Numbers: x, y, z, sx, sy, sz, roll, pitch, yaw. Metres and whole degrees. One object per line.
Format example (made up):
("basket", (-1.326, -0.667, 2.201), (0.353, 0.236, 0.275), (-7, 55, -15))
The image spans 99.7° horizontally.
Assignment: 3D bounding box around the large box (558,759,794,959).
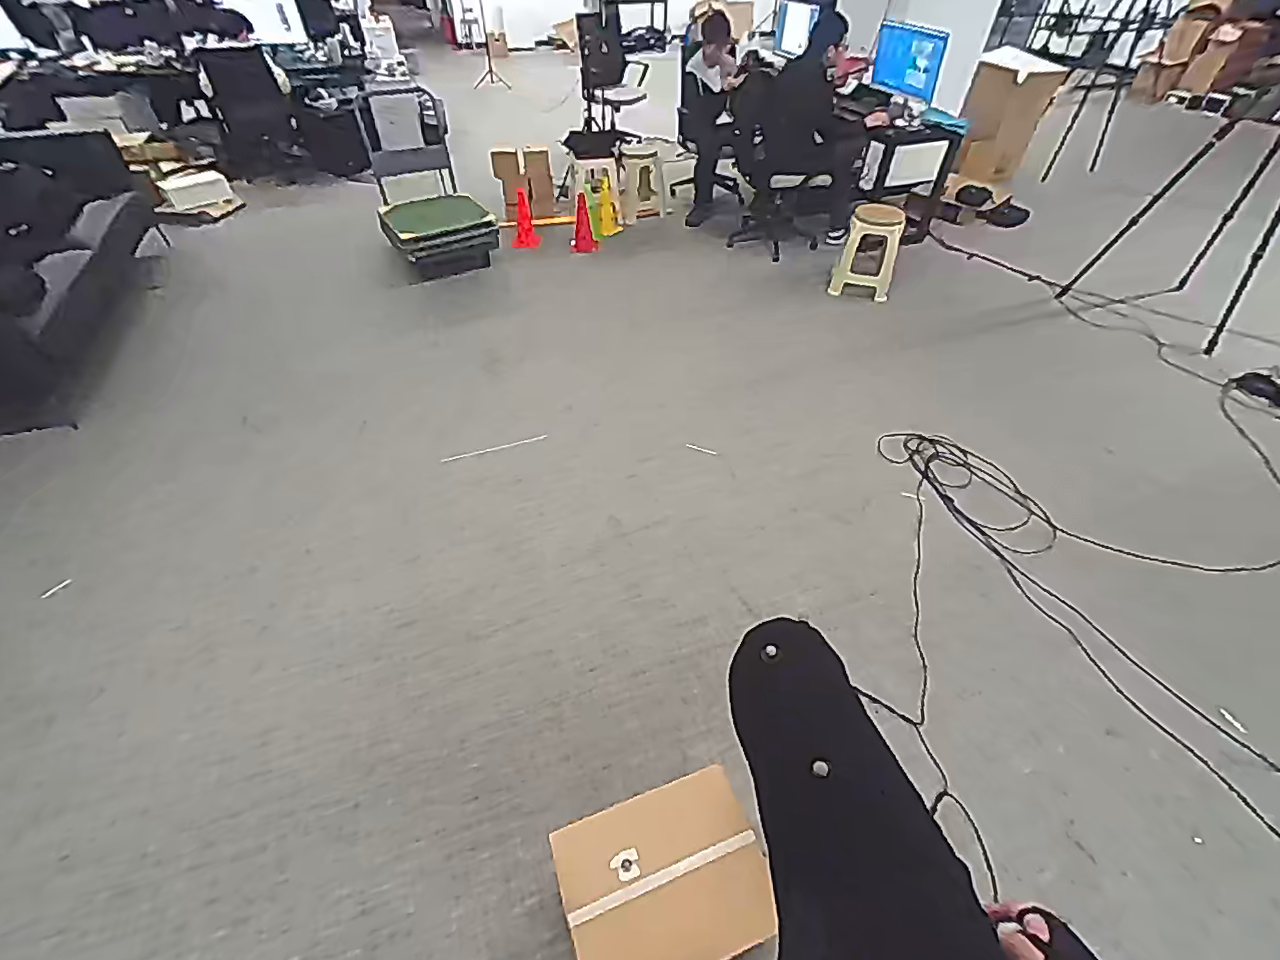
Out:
("large box", (0.067, 0.898, 1.202), (0.408, 0.320, 0.320), (-17, 47, -14))
